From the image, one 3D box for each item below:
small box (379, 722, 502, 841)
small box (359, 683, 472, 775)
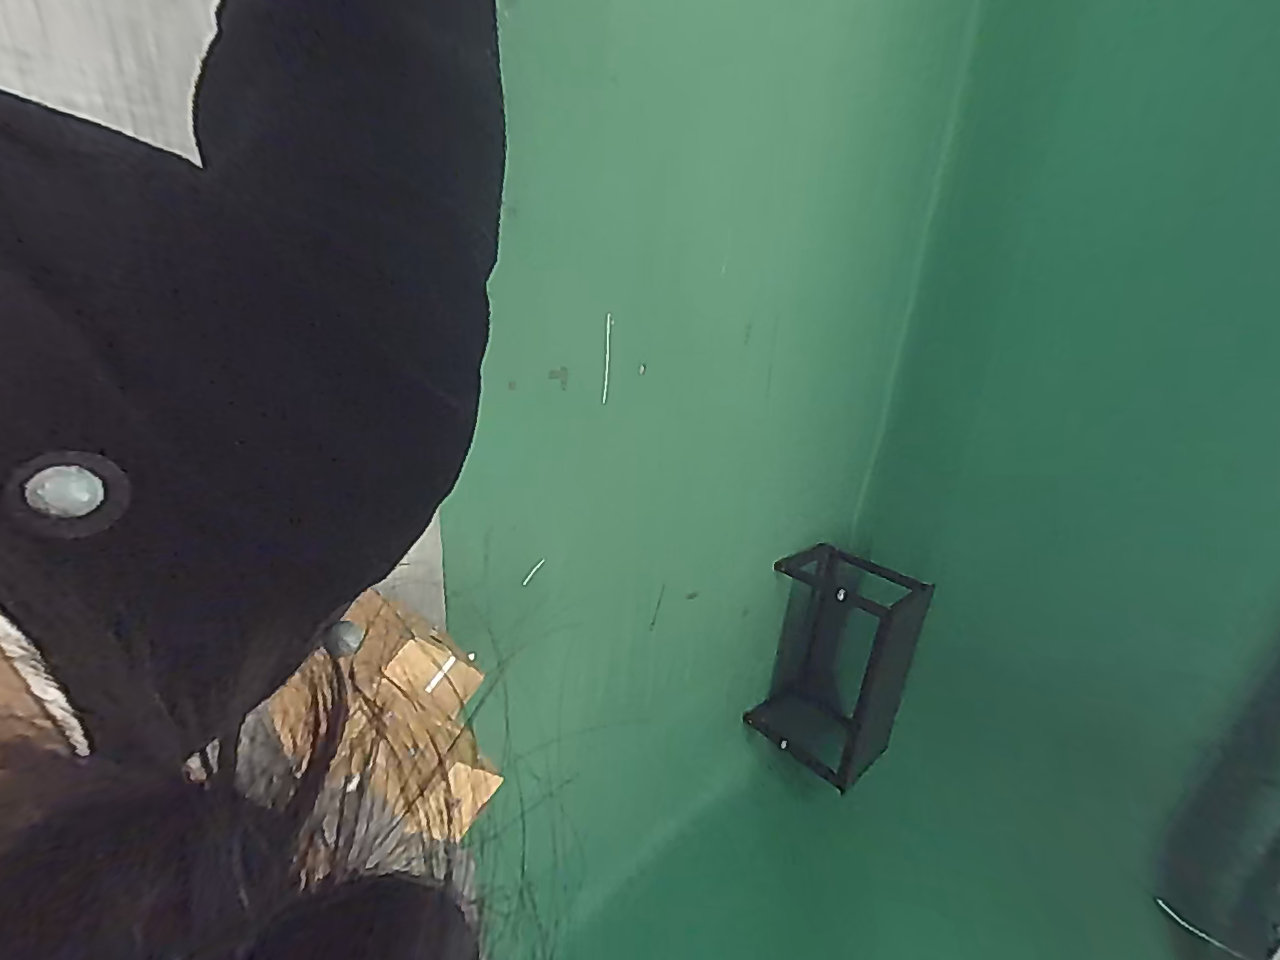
[{"bbox_3d":[-0.466,0.699,1.263,0.168,0.176,0.179,-52,135,-17],"label":"small box"},{"bbox_3d":[-0.572,0.652,1.378,0.168,0.176,0.179,-49,135,-19],"label":"small box"}]
